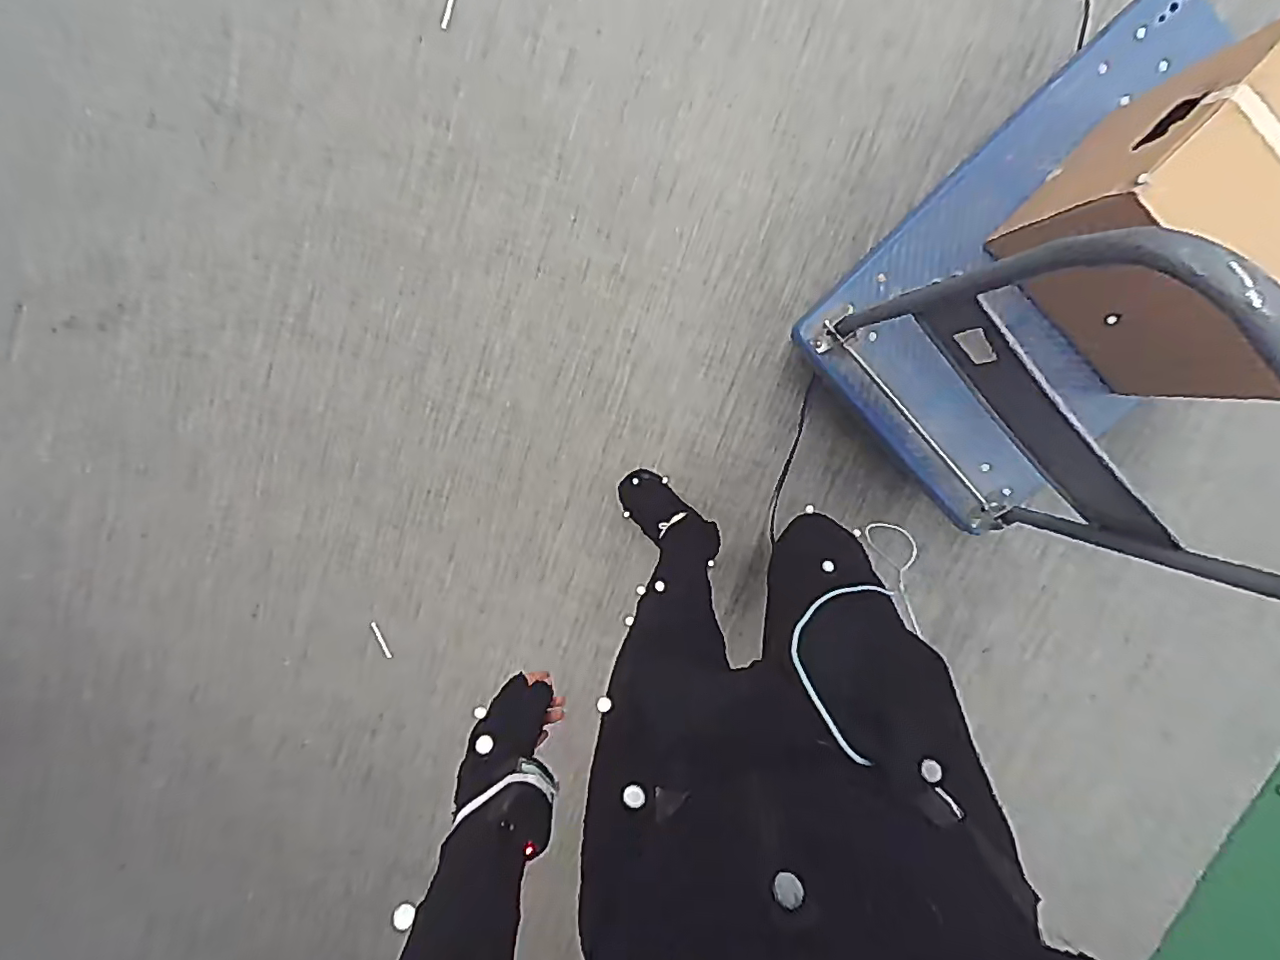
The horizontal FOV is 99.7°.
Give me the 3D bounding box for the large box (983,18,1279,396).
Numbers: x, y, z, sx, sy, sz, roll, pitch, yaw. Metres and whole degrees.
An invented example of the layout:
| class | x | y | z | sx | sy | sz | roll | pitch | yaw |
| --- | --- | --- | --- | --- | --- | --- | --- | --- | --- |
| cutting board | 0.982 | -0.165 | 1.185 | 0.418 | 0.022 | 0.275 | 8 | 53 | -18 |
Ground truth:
| class | x | y | z | sx | sy | sz | roll | pitch | yaw |
| --- | --- | --- | --- | --- | --- | --- | --- | --- | --- |
| large box | 0.871 | -0.378 | 0.851 | 0.408 | 0.320 | 0.320 | 41 | 97 | -7 |
